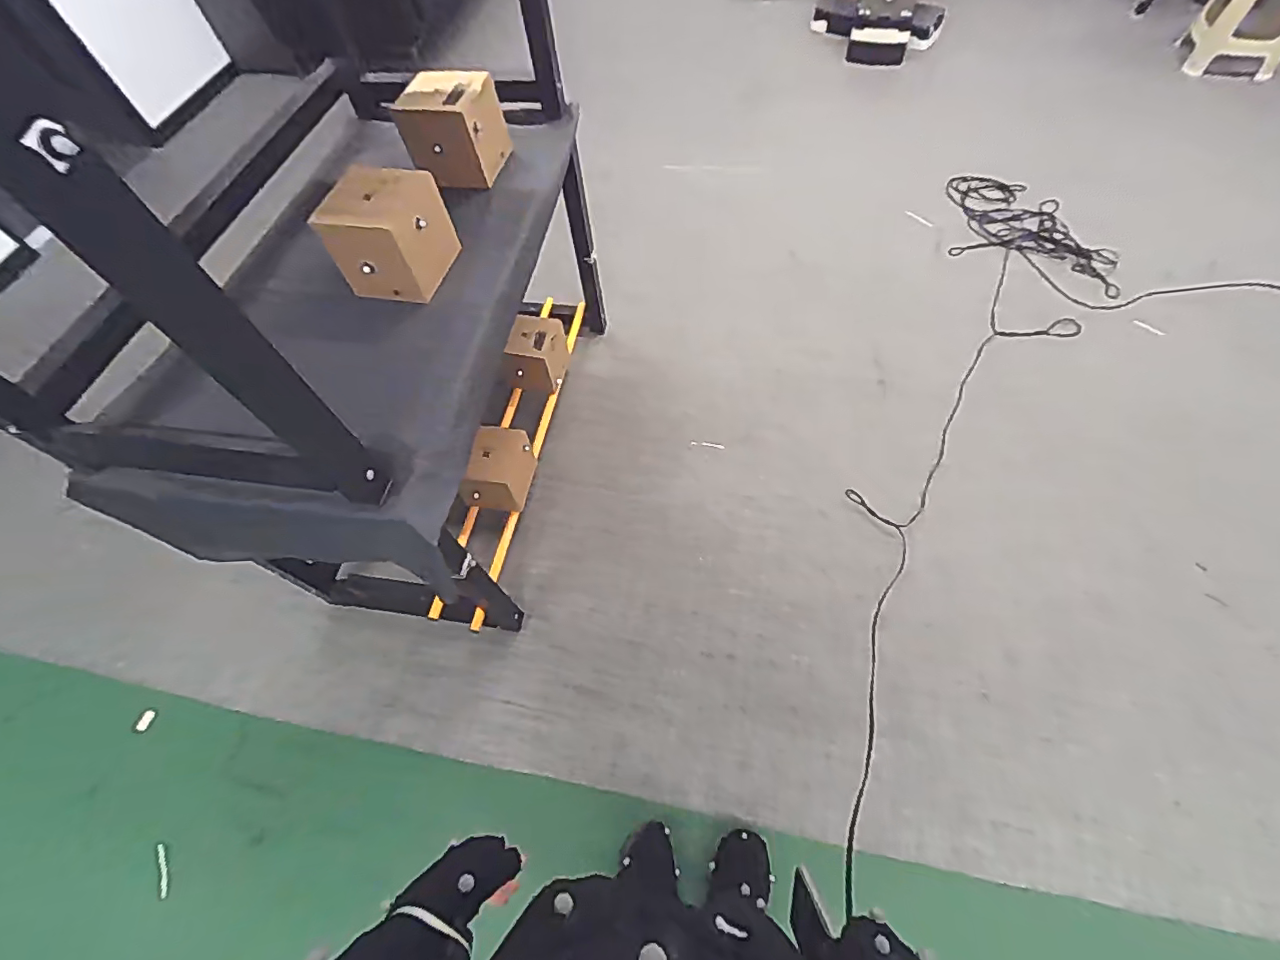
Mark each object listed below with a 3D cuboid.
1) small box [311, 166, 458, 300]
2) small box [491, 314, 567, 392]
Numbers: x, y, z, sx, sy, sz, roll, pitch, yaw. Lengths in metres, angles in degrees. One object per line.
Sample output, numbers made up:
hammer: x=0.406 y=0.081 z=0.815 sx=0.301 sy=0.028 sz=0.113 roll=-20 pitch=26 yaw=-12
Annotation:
small box: x=-0.480 y=-0.474 z=1.050 sx=0.168 sy=0.176 sz=0.179 roll=9 pitch=61 yaw=10
small box: x=-0.343 y=-0.398 z=1.719 sx=0.179 sy=0.176 sz=0.168 roll=10 pitch=61 yaw=10
